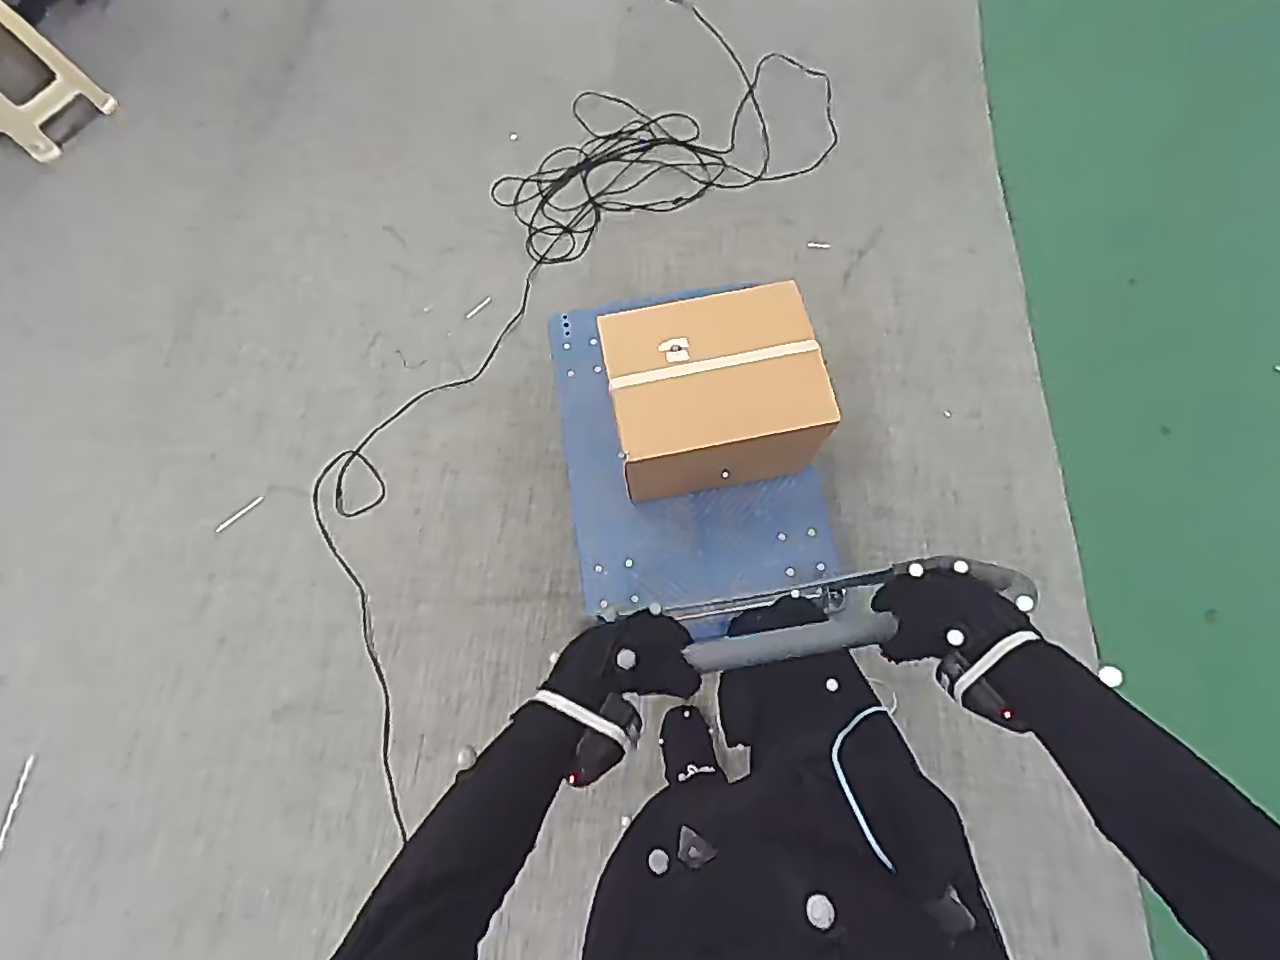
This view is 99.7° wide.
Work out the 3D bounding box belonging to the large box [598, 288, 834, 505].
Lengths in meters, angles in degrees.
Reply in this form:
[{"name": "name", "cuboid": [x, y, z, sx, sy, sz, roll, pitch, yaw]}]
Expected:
[{"name": "large box", "cuboid": [0.147, -0.161, 1.183, 0.408, 0.320, 0.320, -12, 72, 0]}]
